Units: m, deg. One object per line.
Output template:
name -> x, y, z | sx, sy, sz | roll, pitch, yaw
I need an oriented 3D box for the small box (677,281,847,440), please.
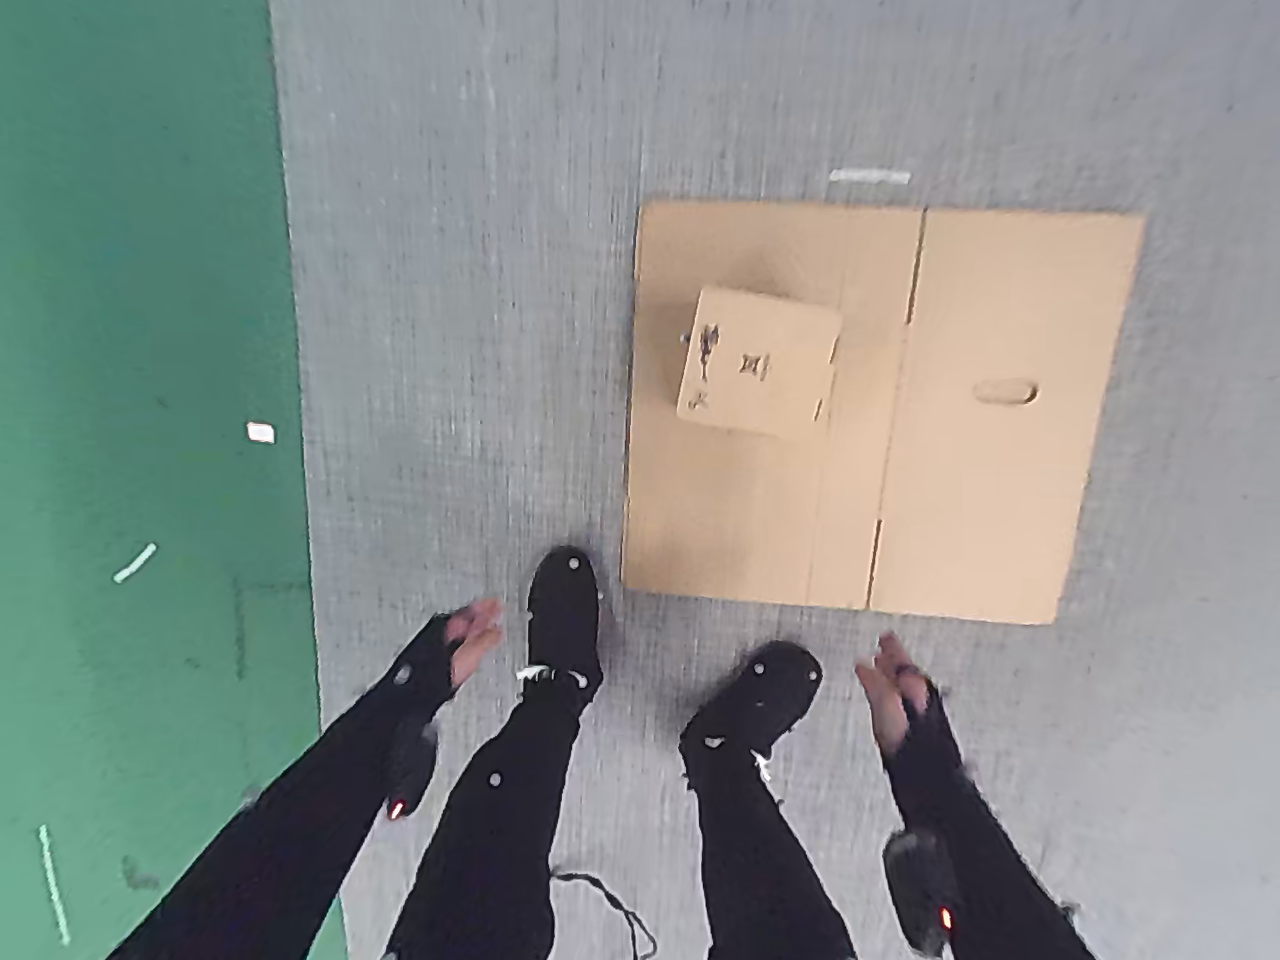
small box -> 0.152, -0.163, 0.740 | 0.179, 0.176, 0.168 | 12, 103, 2
